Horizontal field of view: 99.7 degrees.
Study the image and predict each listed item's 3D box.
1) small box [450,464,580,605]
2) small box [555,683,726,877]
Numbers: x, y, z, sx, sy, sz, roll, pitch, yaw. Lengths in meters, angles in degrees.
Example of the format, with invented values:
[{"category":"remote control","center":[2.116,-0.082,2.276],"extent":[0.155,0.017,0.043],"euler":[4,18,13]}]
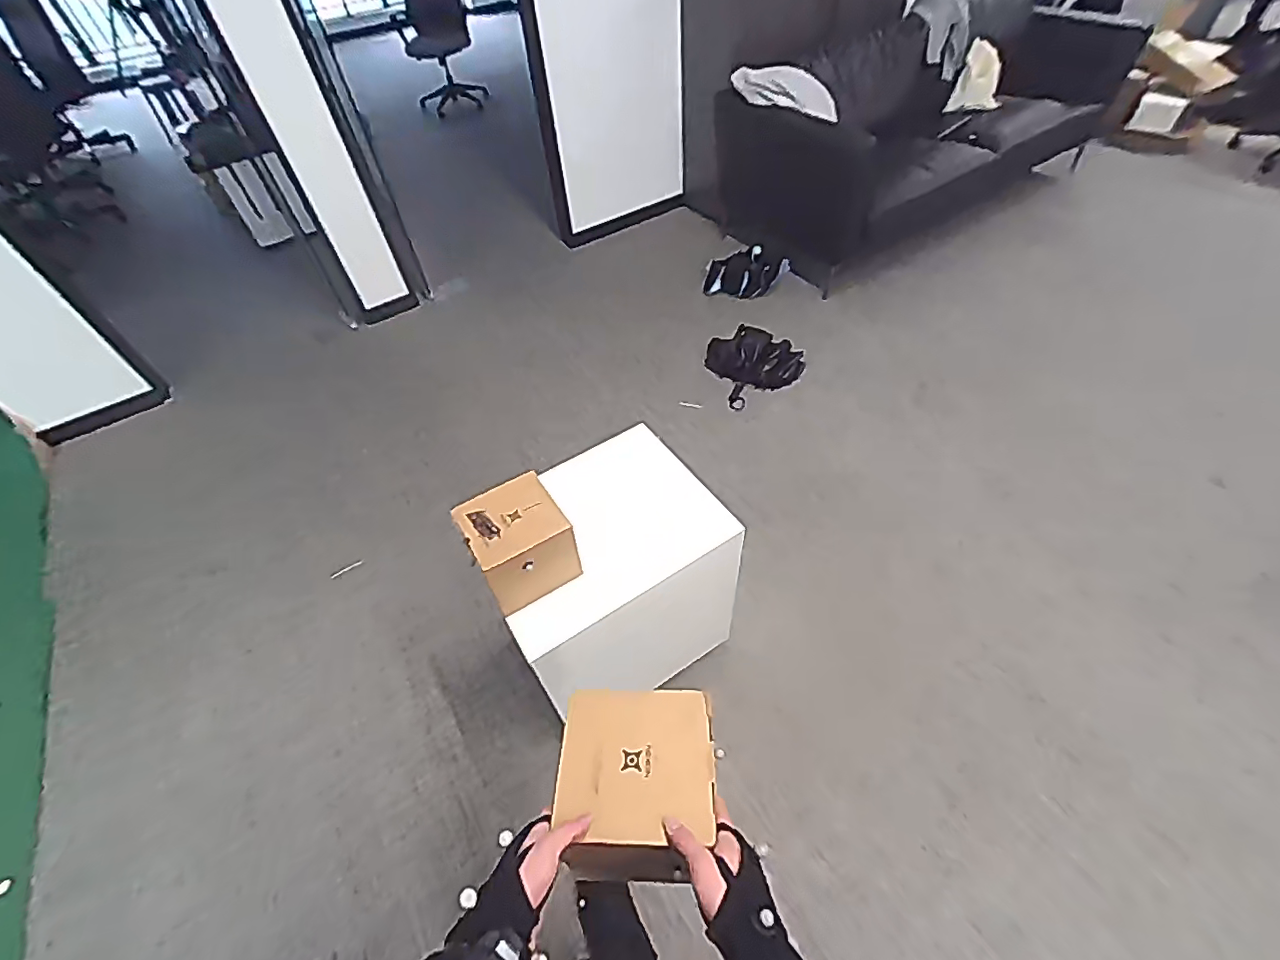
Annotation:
[{"category":"small box","center":[-0.232,0.108,1.034],"extent":[0.179,0.176,0.168],"euler":[-27,55,-20]},{"category":"small box","center":[0.009,0.365,0.659],"extent":[0.179,0.176,0.168],"euler":[-3,42,5]}]
